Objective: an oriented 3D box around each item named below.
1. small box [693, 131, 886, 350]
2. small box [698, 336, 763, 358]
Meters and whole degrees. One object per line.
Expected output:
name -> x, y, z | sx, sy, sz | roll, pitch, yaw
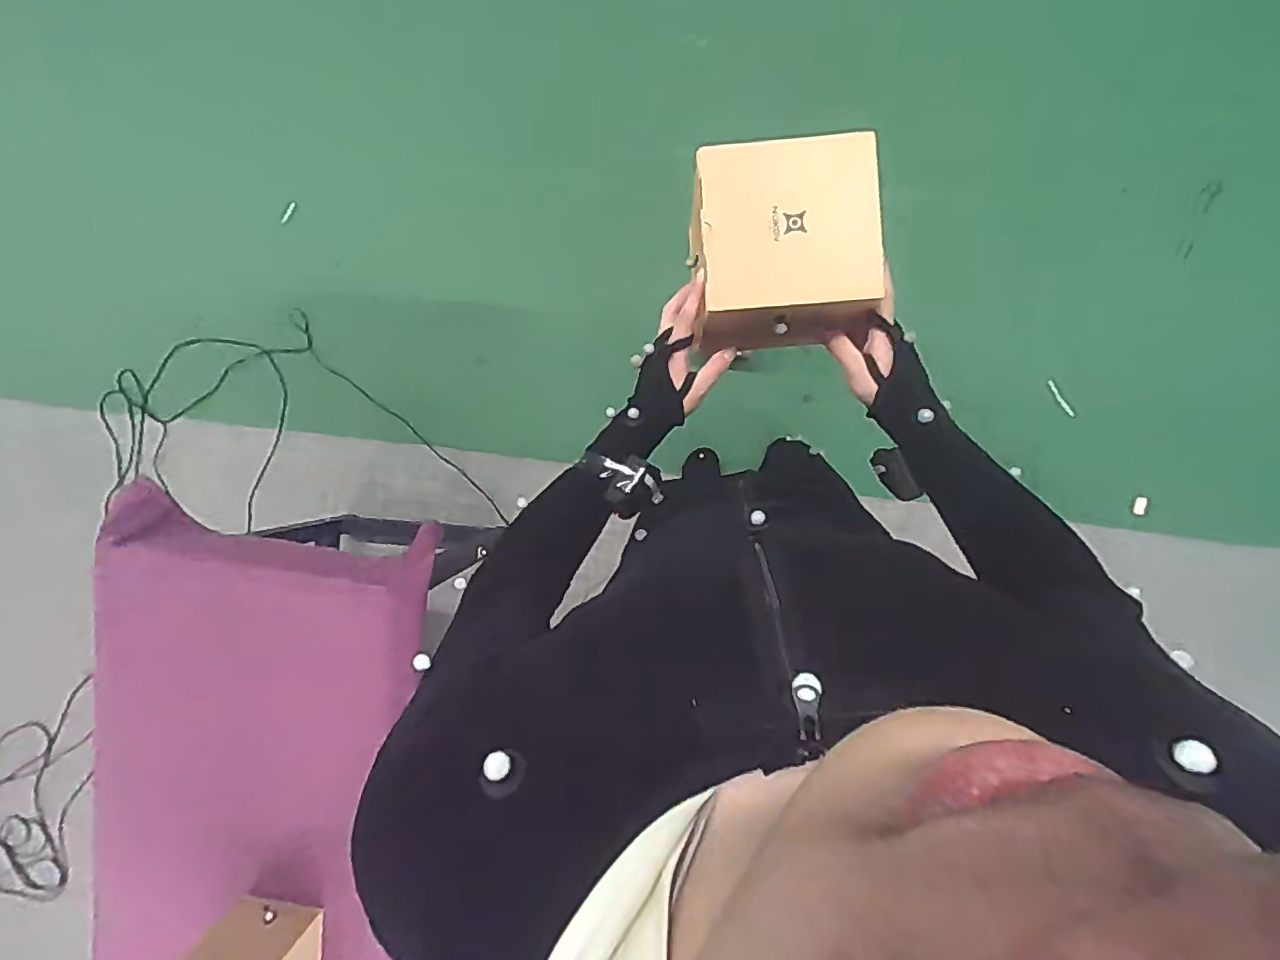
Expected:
small box -> 0.153, -0.251, 0.606 | 0.179, 0.176, 0.168 | -4, 89, 5
small box -> 0.258, -0.441, 1.516 | 0.179, 0.176, 0.168 | 7, 94, 6
